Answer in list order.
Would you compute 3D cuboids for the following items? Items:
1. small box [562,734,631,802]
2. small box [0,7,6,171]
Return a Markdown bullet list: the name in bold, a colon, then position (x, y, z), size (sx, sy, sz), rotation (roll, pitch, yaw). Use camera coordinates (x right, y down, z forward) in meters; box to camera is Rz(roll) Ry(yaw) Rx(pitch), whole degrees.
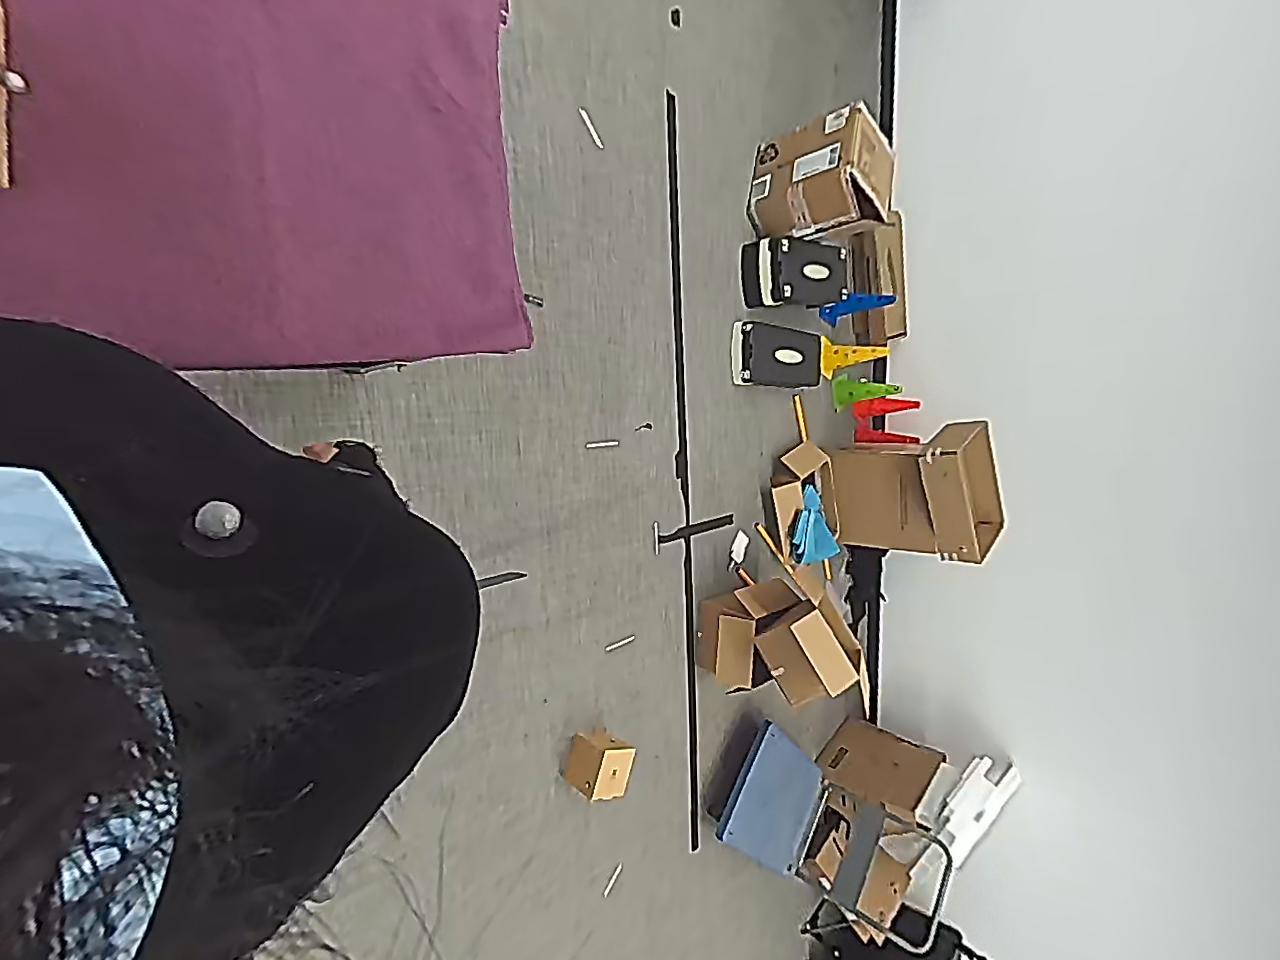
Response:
- **small box**: position (-0.166, 1.062, 2.009), size (0.168, 0.176, 0.179), rotation (25, 78, -44)
- **small box**: position (-0.601, -0.350, 0.387), size (0.179, 0.176, 0.168), rotation (0, 95, -45)
